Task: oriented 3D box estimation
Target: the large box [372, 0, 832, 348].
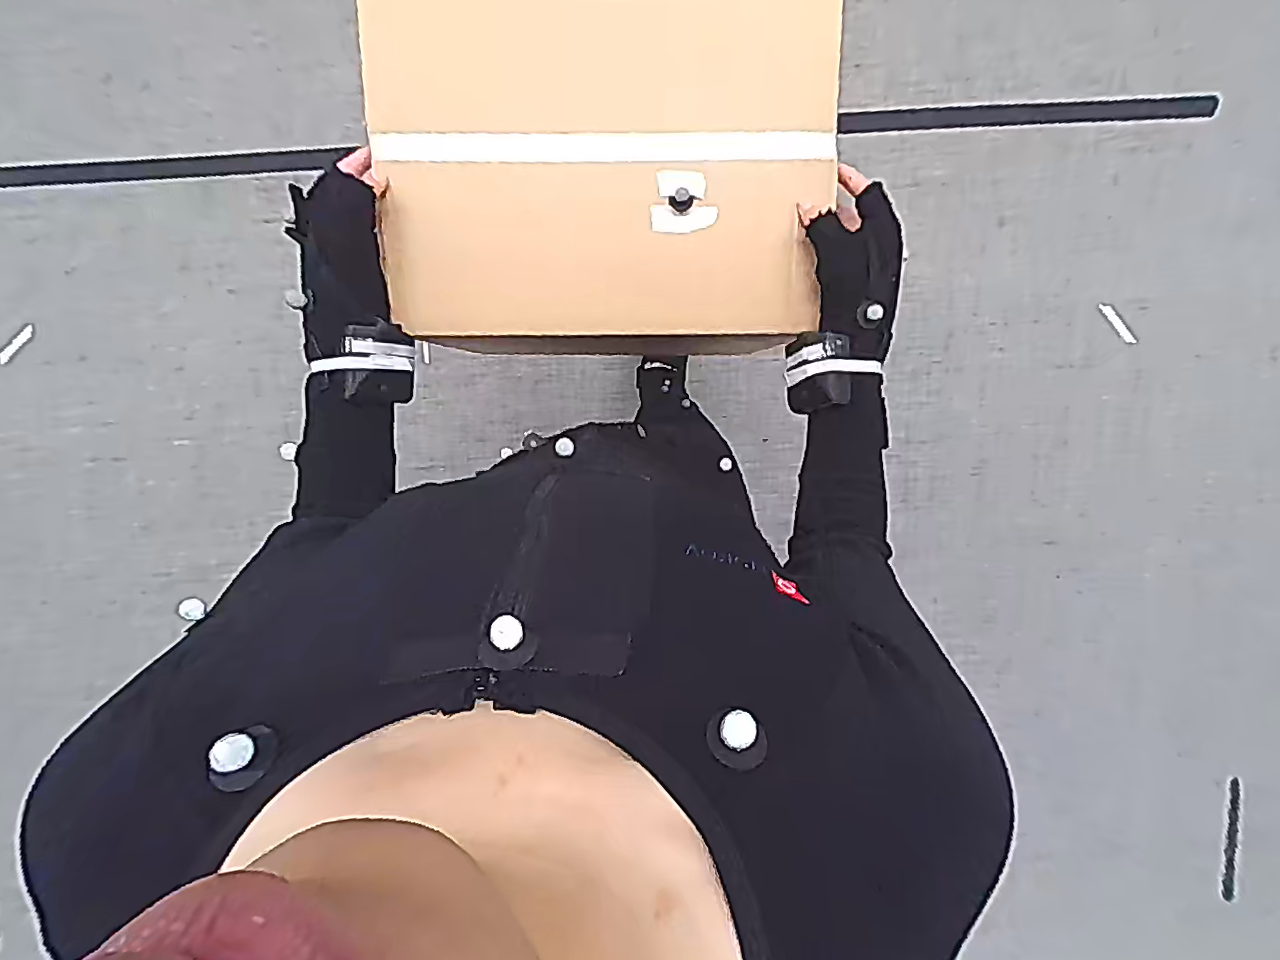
[{"bbox_3d":[-0.034,-0.328,0.629,0.408,0.320,0.320,-1,100,-1],"label":"large box"}]
